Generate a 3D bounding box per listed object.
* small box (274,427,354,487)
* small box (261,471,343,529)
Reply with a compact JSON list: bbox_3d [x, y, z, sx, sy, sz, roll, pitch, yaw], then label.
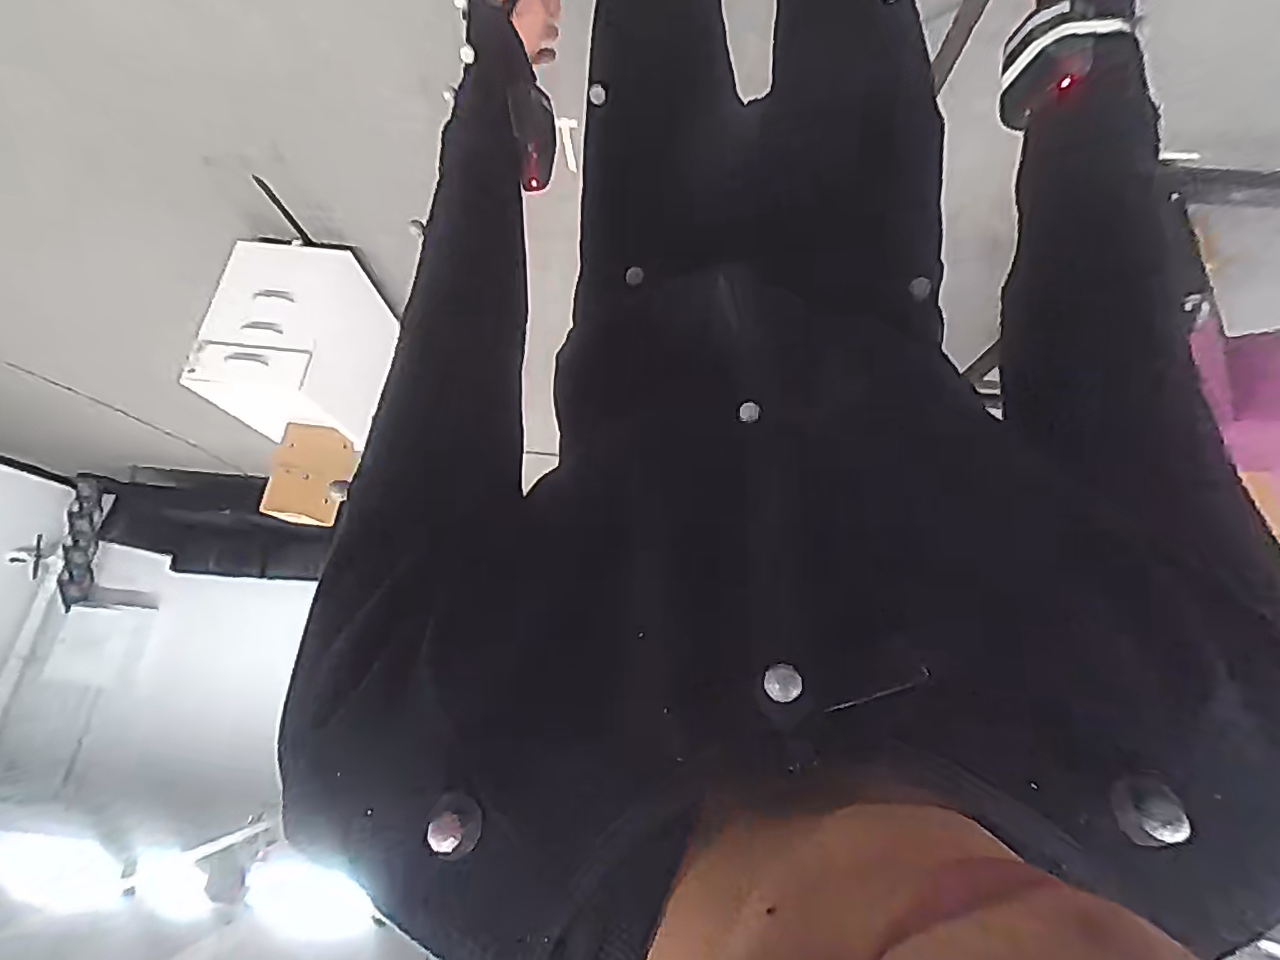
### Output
[{"bbox_3d":[-1.196,-0.084,1.996,0.179,0.176,0.168,6,162,-1],"label":"small box"},{"bbox_3d":[-1.211,0.073,1.950,0.168,0.176,0.179,6,163,3],"label":"small box"}]
